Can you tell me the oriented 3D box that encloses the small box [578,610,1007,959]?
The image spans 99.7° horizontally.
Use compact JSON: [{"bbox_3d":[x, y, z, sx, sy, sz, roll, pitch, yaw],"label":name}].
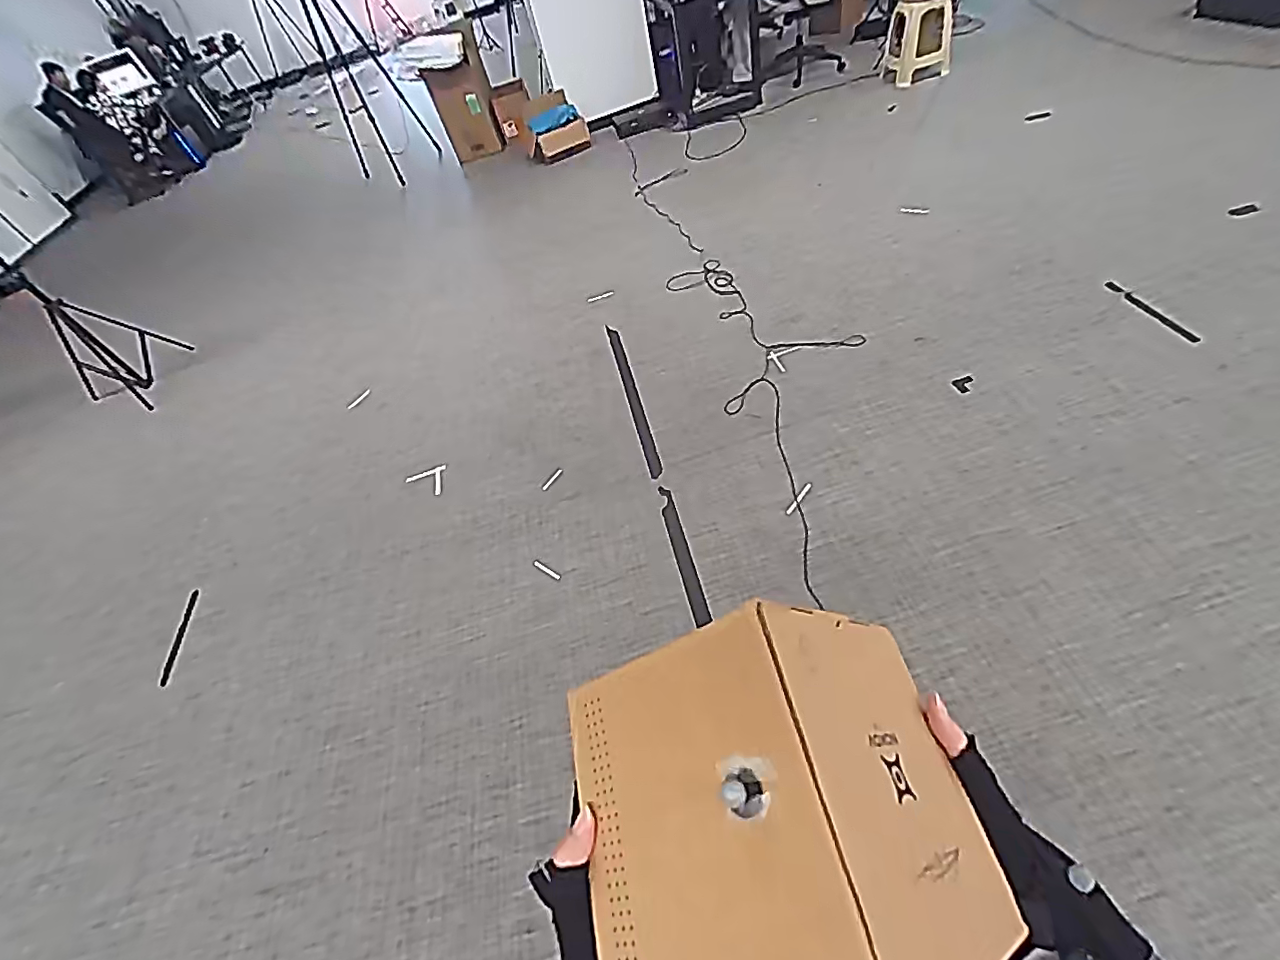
[{"bbox_3d":[0.077,0.205,0.340,0.176,0.168,0.179,-38,49,32],"label":"small box"}]
